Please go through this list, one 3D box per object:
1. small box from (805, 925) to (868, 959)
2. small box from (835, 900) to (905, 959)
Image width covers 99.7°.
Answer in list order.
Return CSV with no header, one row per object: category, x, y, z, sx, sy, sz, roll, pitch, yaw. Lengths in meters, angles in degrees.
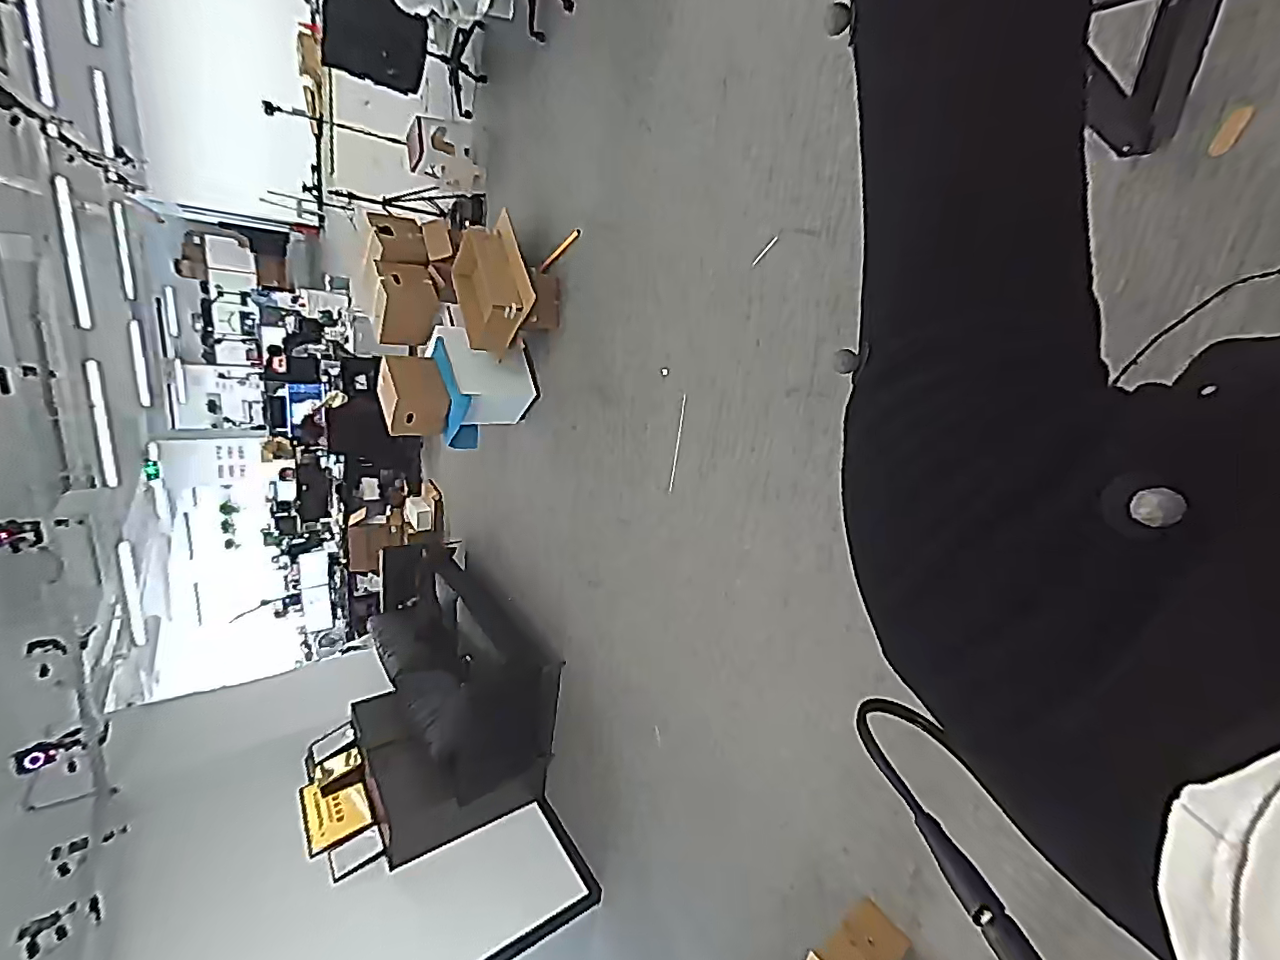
small box,0.636,1.605,1.745,0.168,0.176,0.179,33,120,47
small box,0.768,1.599,1.842,0.179,0.176,0.168,31,118,48
